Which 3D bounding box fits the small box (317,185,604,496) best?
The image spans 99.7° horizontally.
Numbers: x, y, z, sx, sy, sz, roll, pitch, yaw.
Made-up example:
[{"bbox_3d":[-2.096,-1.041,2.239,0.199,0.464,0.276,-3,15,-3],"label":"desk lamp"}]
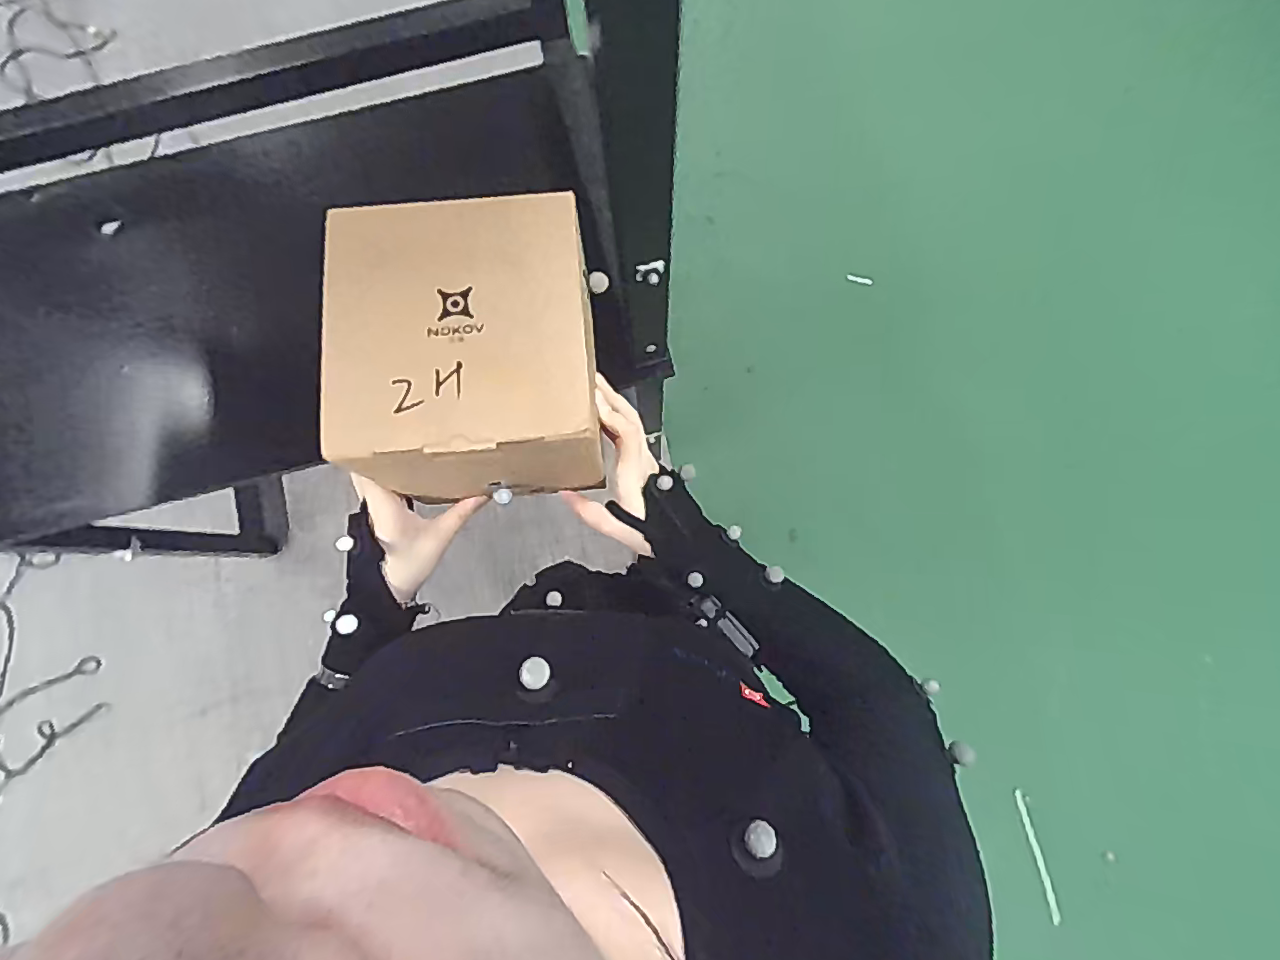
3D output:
[{"bbox_3d":[-0.117,-0.091,0.419,0.168,0.176,0.179,-4,79,-1],"label":"small box"}]
